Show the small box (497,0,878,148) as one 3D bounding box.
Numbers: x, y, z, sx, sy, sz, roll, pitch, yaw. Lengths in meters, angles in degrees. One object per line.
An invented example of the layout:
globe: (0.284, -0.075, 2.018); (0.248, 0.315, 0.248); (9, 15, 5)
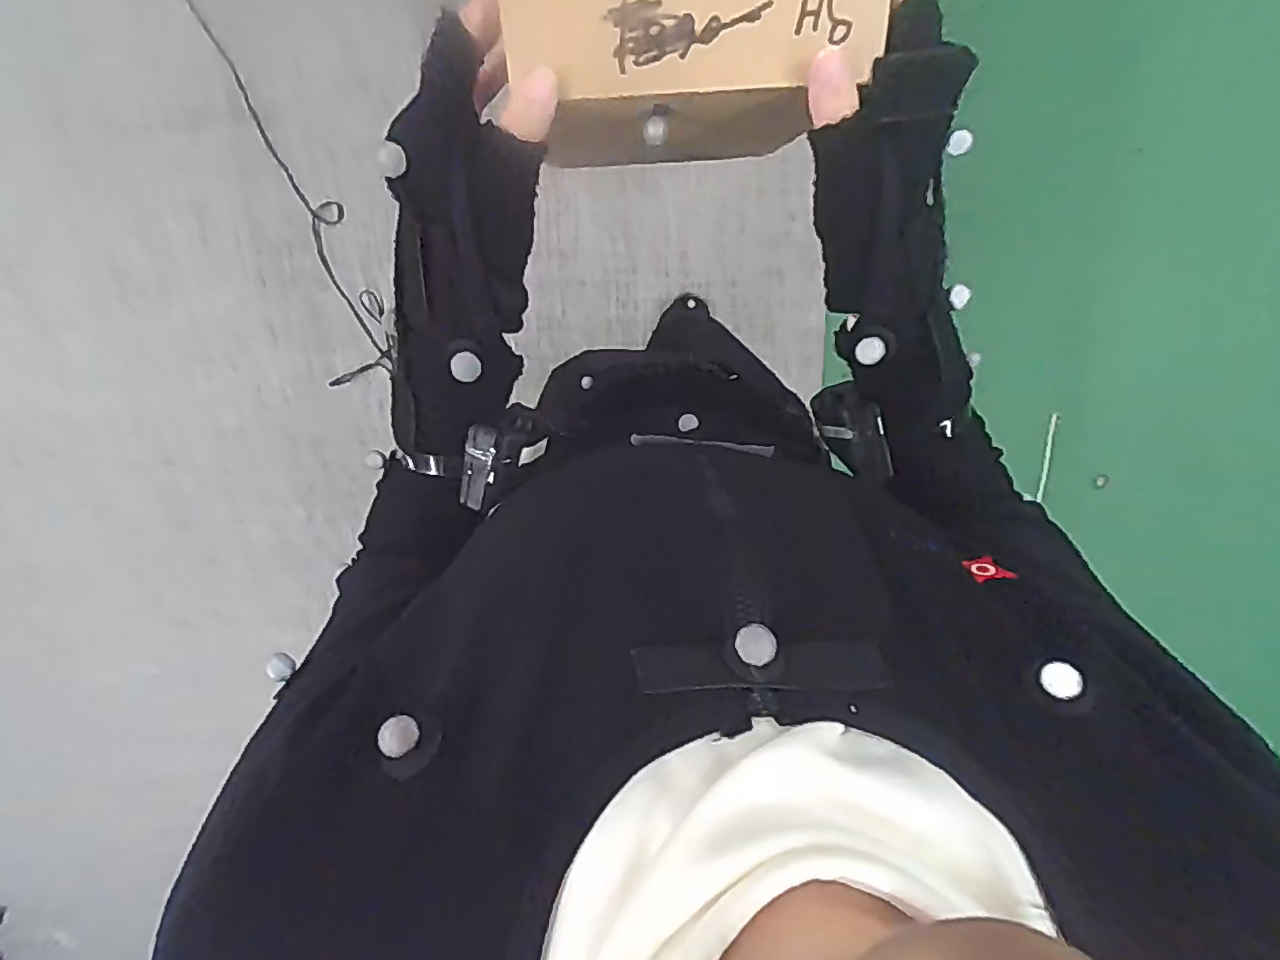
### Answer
small box: (0.012, -0.293, 0.279); (0.168, 0.176, 0.179); (-4, 111, -2)
